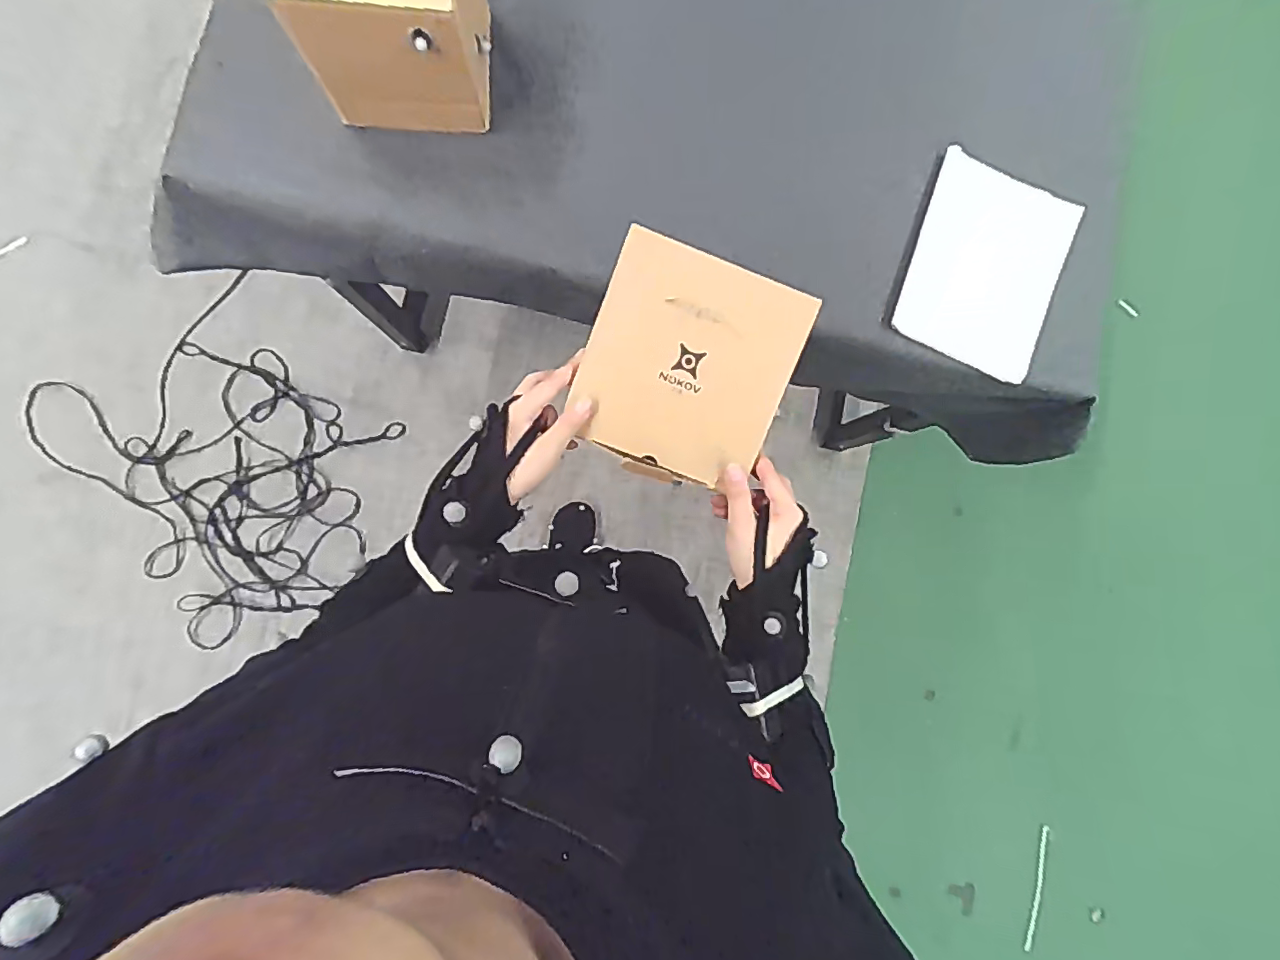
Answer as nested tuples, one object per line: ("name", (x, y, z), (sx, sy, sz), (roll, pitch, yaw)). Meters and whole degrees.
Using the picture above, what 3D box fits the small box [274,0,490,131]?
("small box", (-0.269, -0.518, 0.591), (0.179, 0.176, 0.168), (0, 85, -6))

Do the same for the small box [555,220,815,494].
("small box", (0.035, -0.106, 0.514), (0.168, 0.176, 0.179), (21, 97, -4))
